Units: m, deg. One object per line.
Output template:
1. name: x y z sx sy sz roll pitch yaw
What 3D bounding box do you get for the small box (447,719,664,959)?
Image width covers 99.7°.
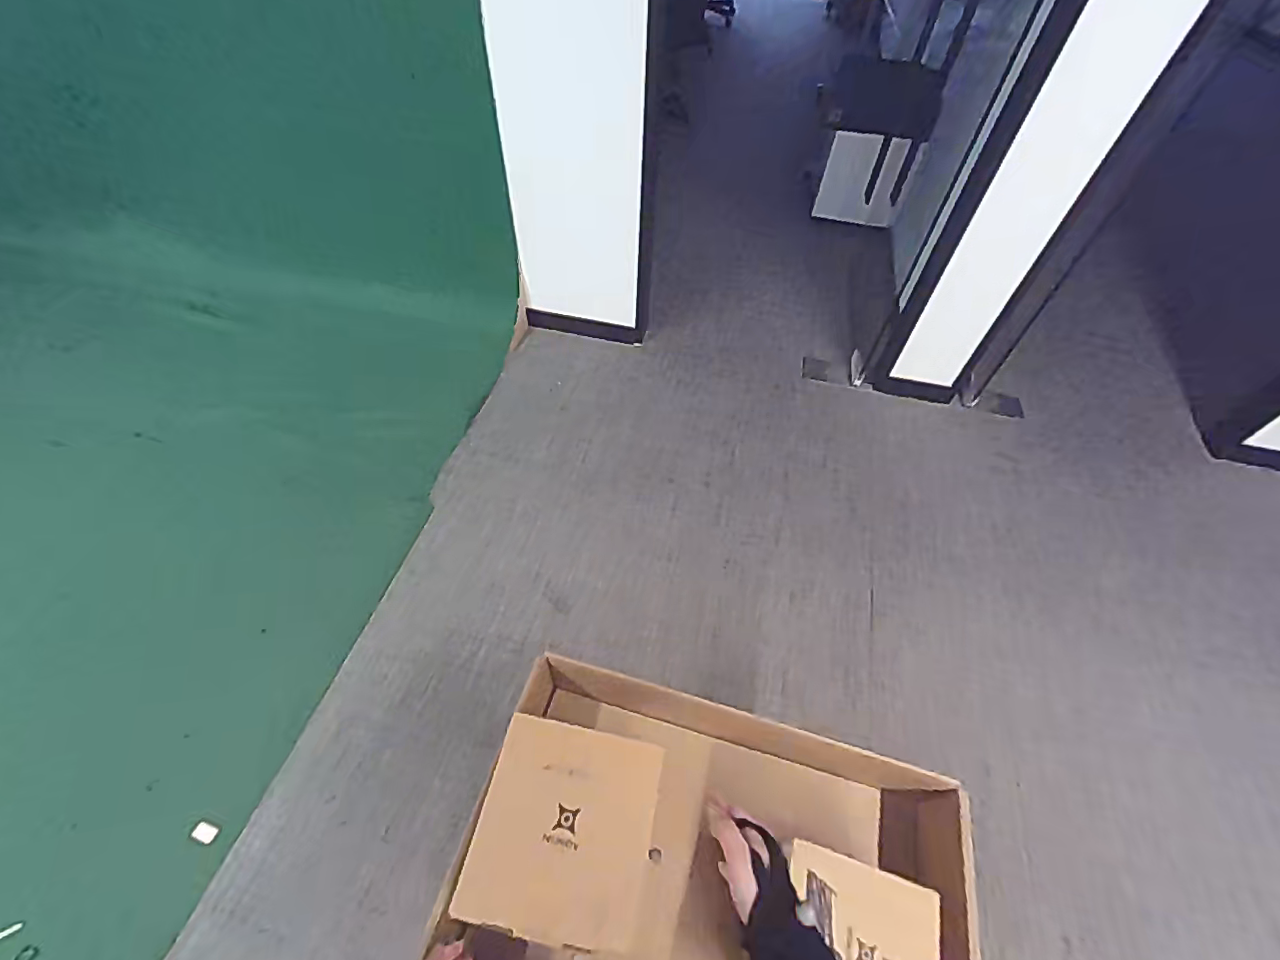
1. small box: -0.073 0.381 0.570 0.168 0.176 0.179 11 52 5
